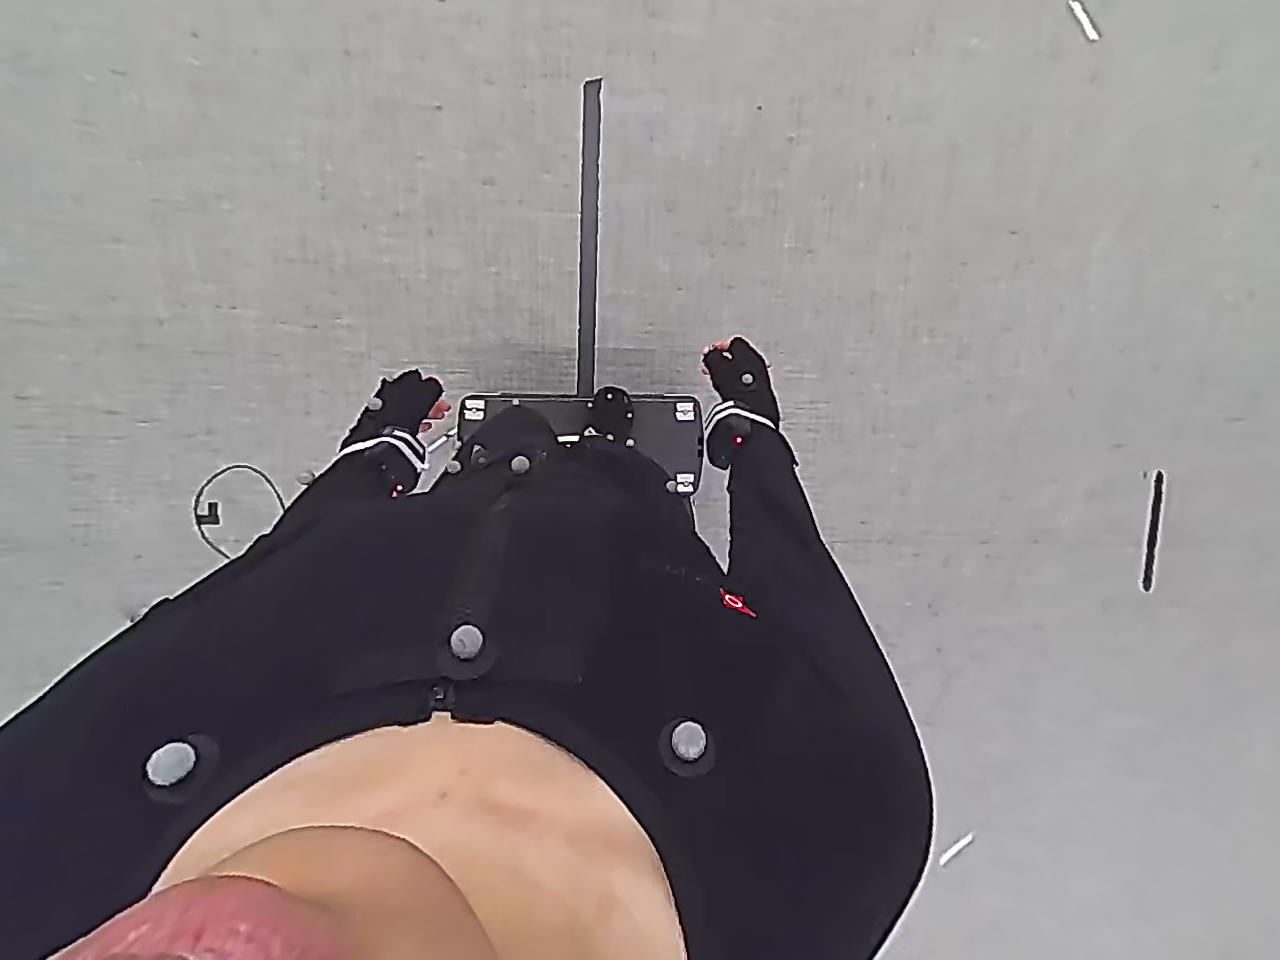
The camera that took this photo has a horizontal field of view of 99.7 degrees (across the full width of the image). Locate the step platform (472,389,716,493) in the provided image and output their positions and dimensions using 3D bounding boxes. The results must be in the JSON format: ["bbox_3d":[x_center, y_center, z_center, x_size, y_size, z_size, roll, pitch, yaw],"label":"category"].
[{"bbox_3d":[-0.126,-0.114,1.551,0.684,0.204,0.286,-1,98,-3],"label":"step platform"}]
